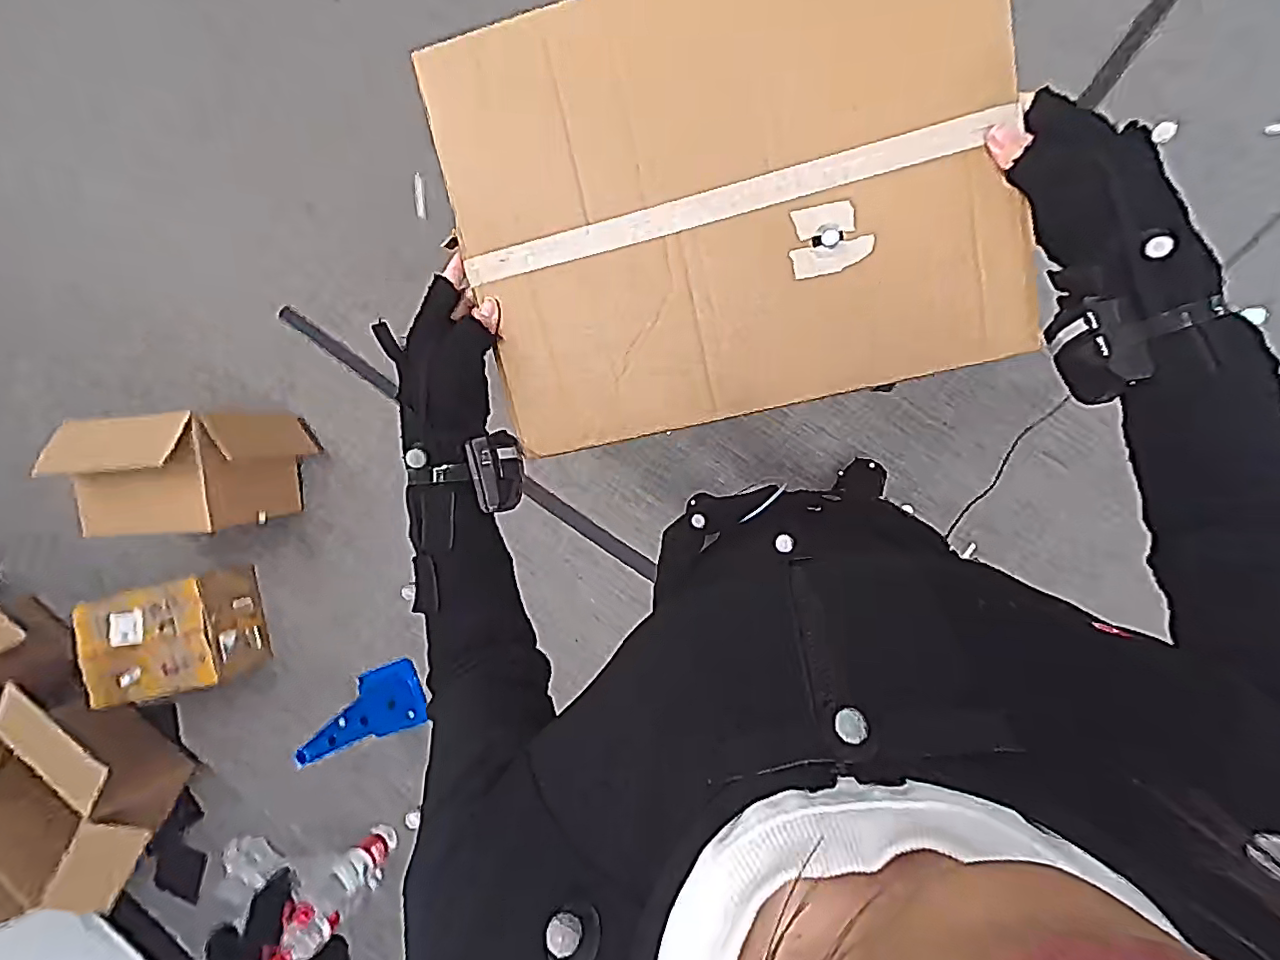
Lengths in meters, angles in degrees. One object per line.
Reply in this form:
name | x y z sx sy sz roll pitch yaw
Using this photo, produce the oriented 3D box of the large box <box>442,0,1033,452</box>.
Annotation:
large box | 0.086 -0.239 0.555 0.408 0.320 0.320 -12 102 8
